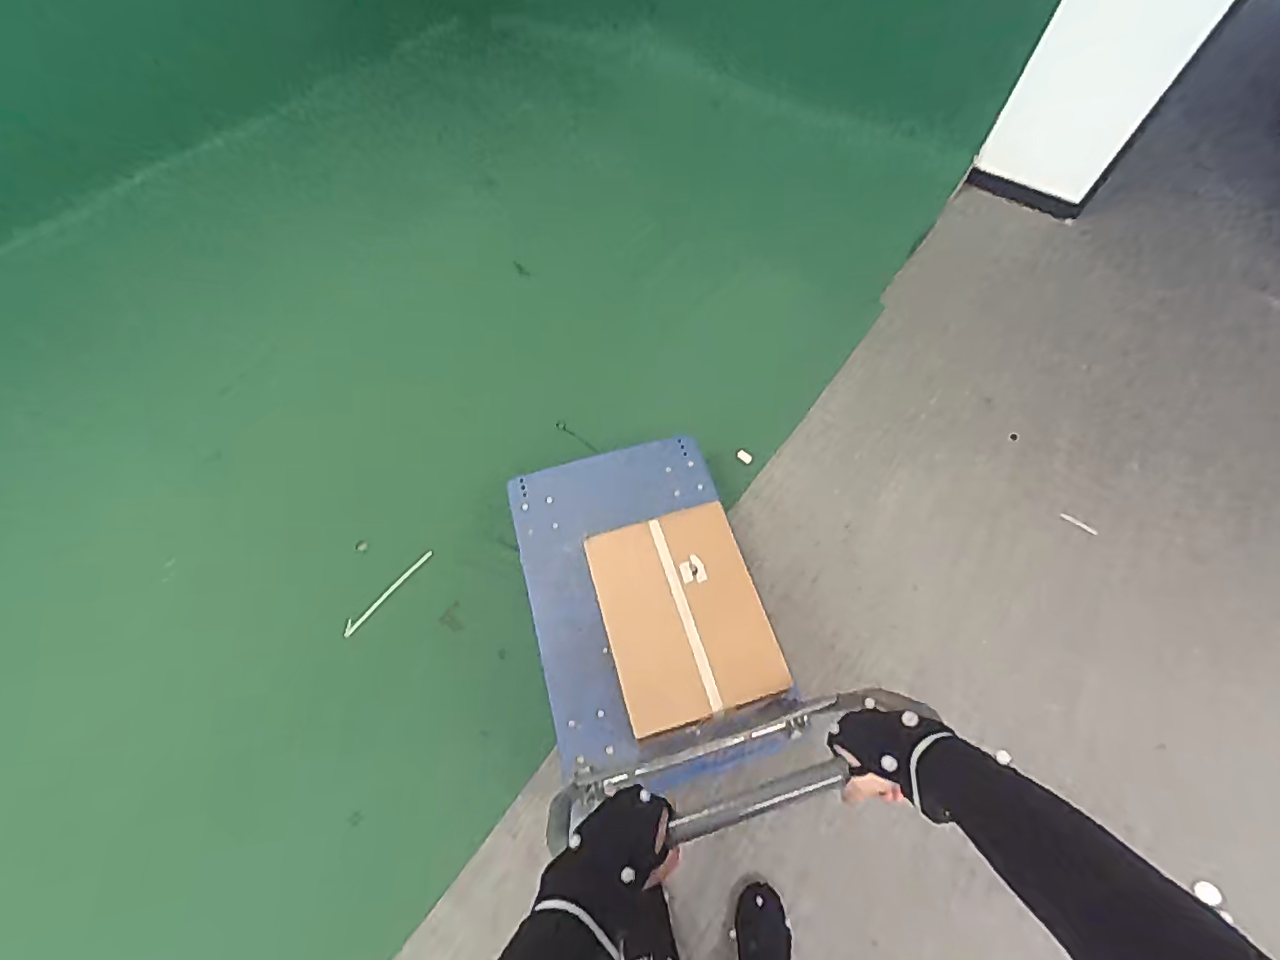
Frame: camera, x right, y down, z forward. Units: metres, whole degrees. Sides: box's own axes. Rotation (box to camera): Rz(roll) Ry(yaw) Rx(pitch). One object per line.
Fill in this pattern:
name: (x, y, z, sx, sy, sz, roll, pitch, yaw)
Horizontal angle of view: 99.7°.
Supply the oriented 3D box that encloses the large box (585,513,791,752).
large box: (0.089, 0.350, 1.223, 0.320, 0.320, 0.408, -15, 61, -8)
